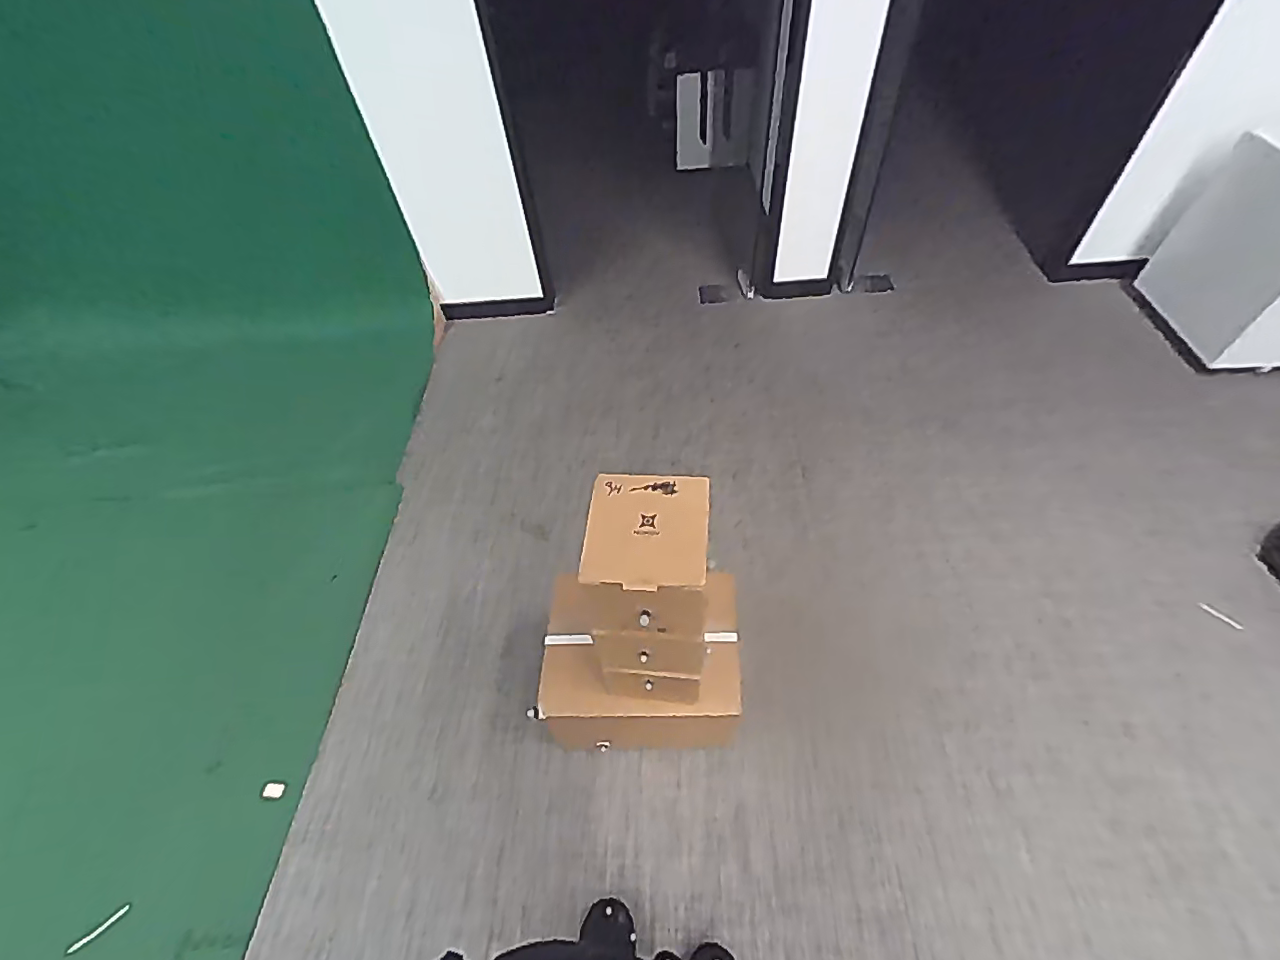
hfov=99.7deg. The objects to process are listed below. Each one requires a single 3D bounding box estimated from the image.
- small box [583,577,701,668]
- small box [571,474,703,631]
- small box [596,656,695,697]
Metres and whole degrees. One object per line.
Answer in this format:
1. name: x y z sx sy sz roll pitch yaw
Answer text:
1. small box: 0.013 0.214 0.925 0.179 0.176 0.168 2 55 8
2. small box: 0.007 0.111 0.797 0.168 0.176 0.179 3 55 7
3. small box: 0.021 0.313 1.054 0.179 0.176 0.168 4 55 6
